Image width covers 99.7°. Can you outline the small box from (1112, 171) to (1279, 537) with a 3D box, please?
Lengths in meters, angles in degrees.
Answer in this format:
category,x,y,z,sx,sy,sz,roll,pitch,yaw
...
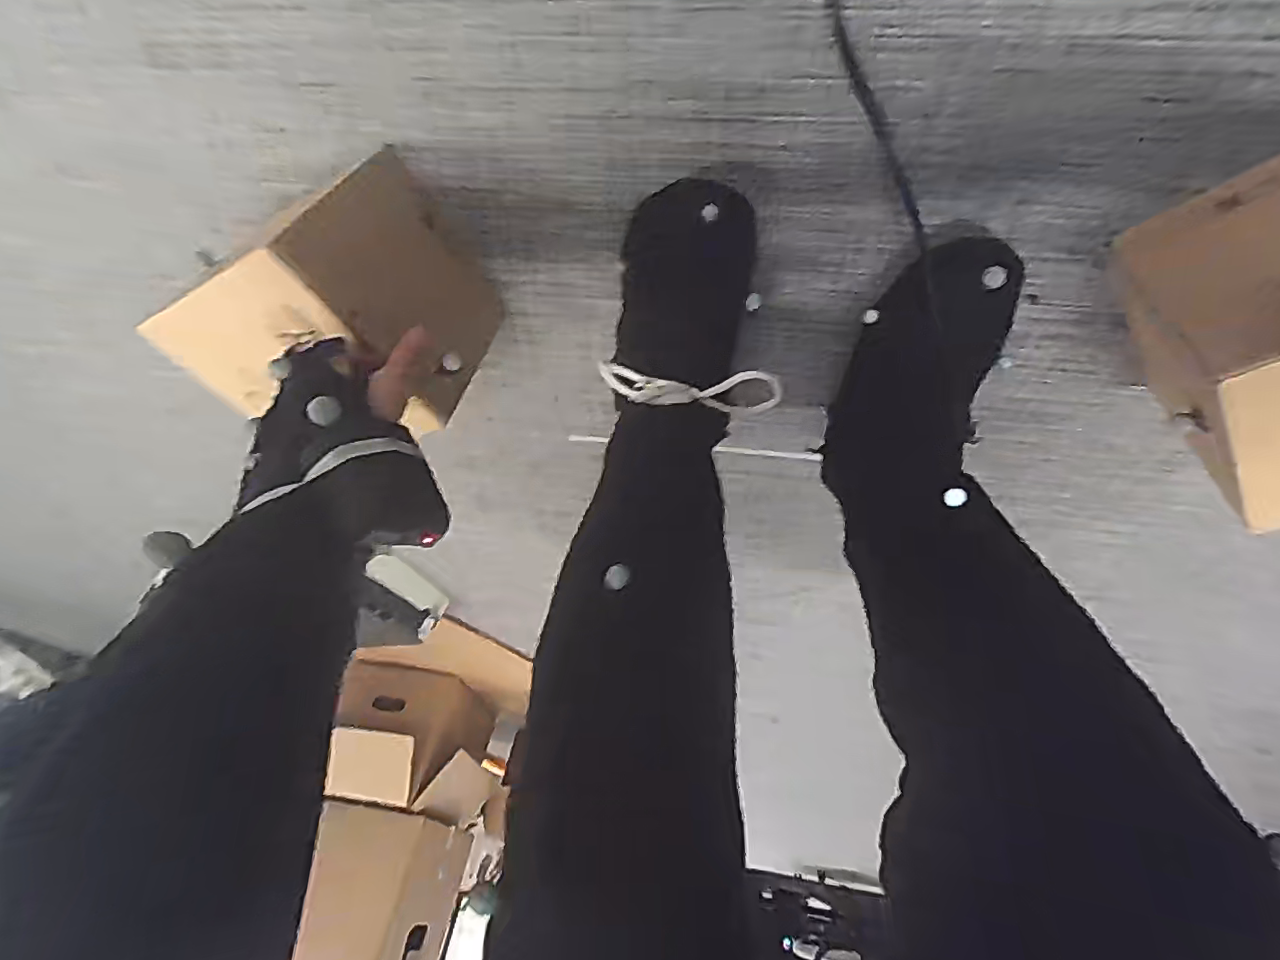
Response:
category,x,y,z,sx,sy,sz,roll,pitch,yaw
small box,0.462,-0.093,0.360,0.168,0.176,0.179,-26,127,36
